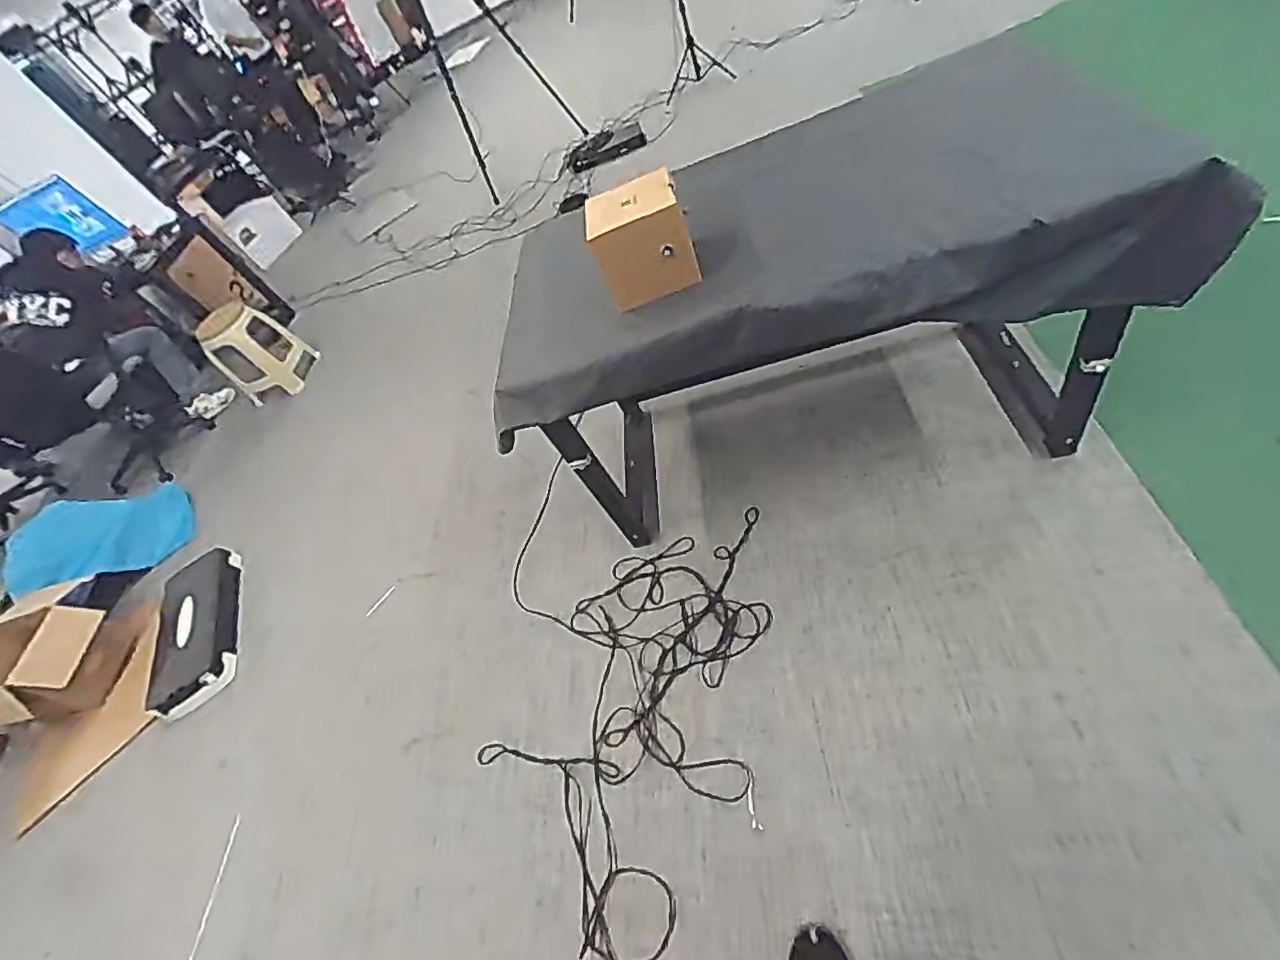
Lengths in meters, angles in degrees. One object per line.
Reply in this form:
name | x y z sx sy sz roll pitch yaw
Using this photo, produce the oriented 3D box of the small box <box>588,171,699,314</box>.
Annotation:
small box | 0.011 -0.464 1.071 0.179 0.176 0.168 -18 48 14
